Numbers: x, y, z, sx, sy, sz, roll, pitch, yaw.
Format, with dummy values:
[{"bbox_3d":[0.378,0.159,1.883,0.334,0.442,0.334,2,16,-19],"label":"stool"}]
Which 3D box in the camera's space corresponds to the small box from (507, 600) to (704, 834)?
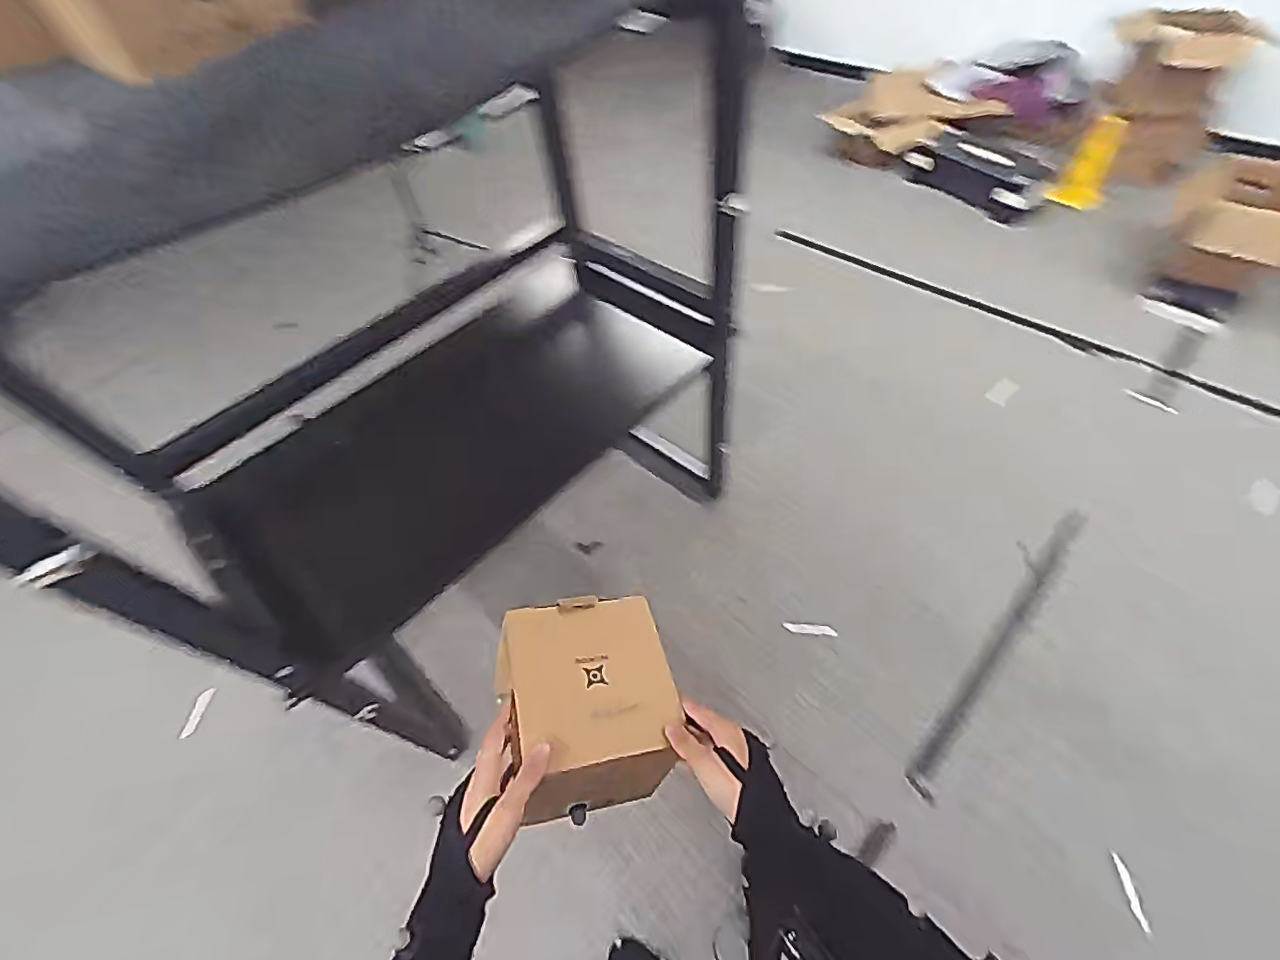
[{"bbox_3d":[-0.054,0.257,0.599,0.168,0.176,0.179,0,45,-20],"label":"small box"}]
